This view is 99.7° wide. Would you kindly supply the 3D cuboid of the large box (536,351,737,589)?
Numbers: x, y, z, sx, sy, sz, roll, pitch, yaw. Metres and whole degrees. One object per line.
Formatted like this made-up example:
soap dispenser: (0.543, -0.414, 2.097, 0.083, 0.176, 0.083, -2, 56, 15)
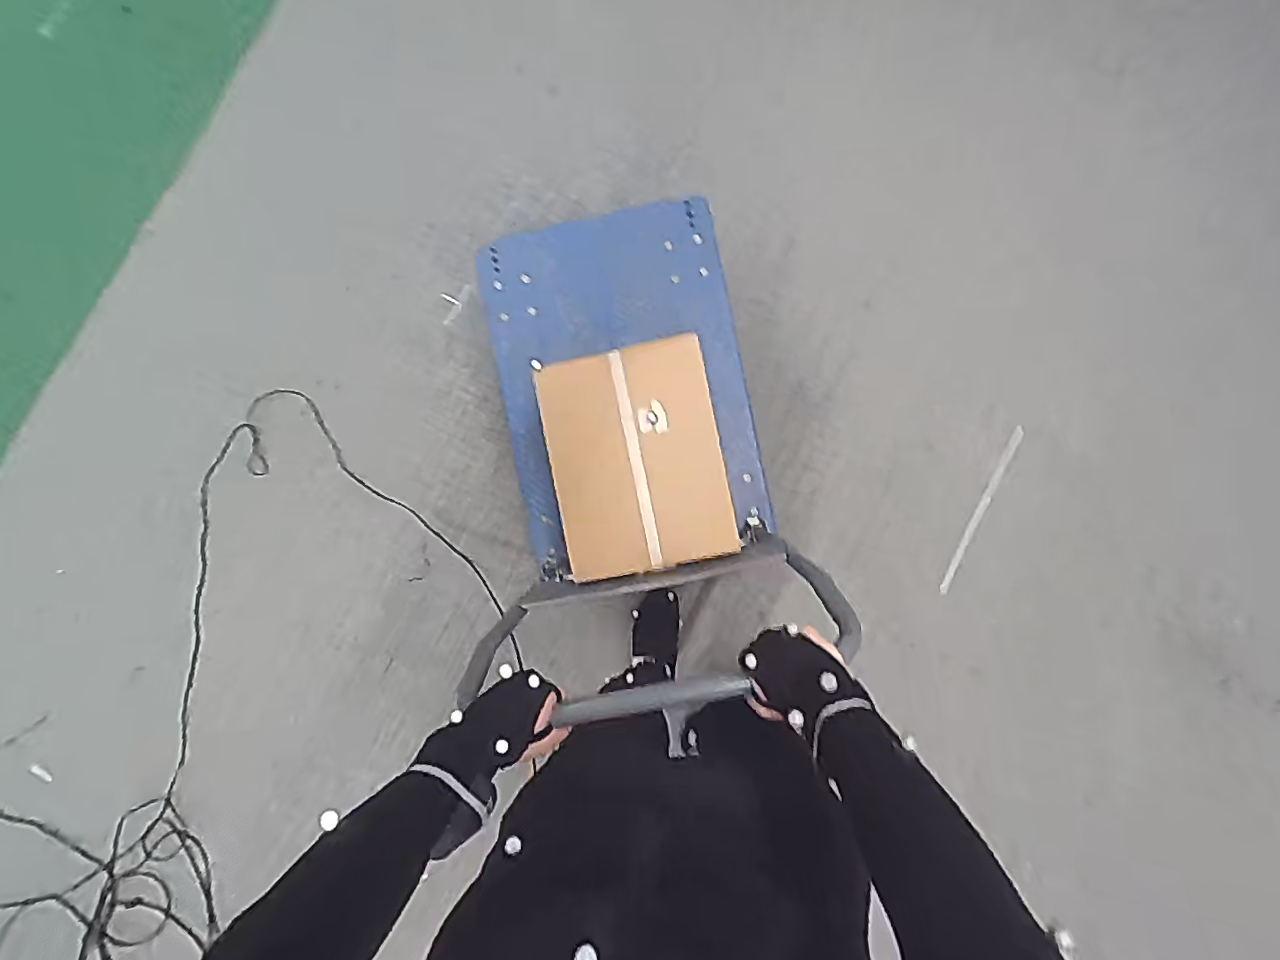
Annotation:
large box: (0.002, -0.013, 1.156, 0.320, 0.320, 0.408, -11, 87, 3)
